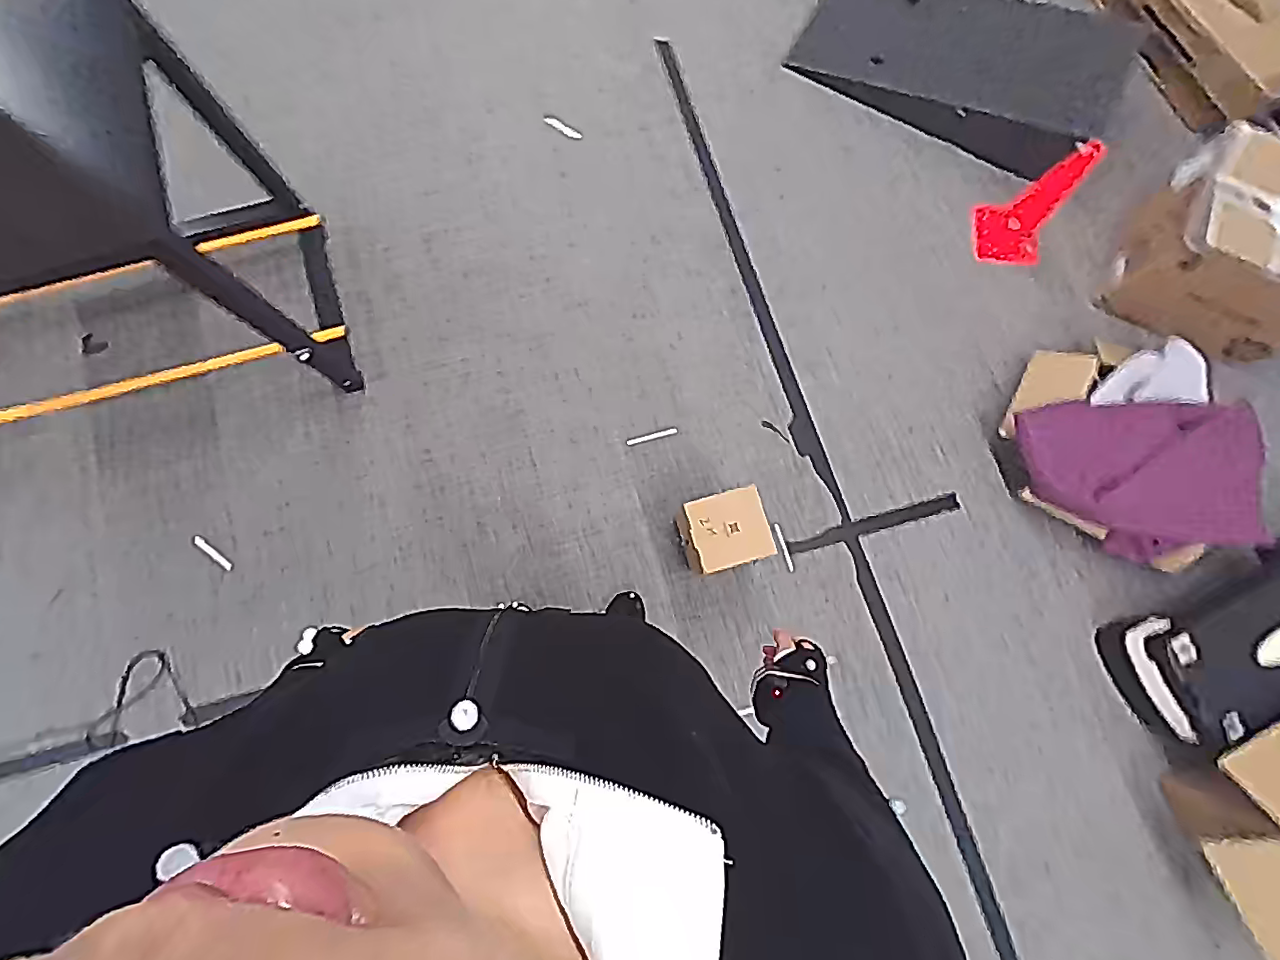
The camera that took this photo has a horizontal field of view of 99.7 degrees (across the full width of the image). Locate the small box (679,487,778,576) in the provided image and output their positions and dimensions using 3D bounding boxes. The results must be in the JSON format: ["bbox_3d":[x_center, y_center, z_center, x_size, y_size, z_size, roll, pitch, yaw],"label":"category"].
[{"bbox_3d":[0.203,0.127,1.291,0.179,0.176,0.168,-15,79,-4],"label":"small box"}]
